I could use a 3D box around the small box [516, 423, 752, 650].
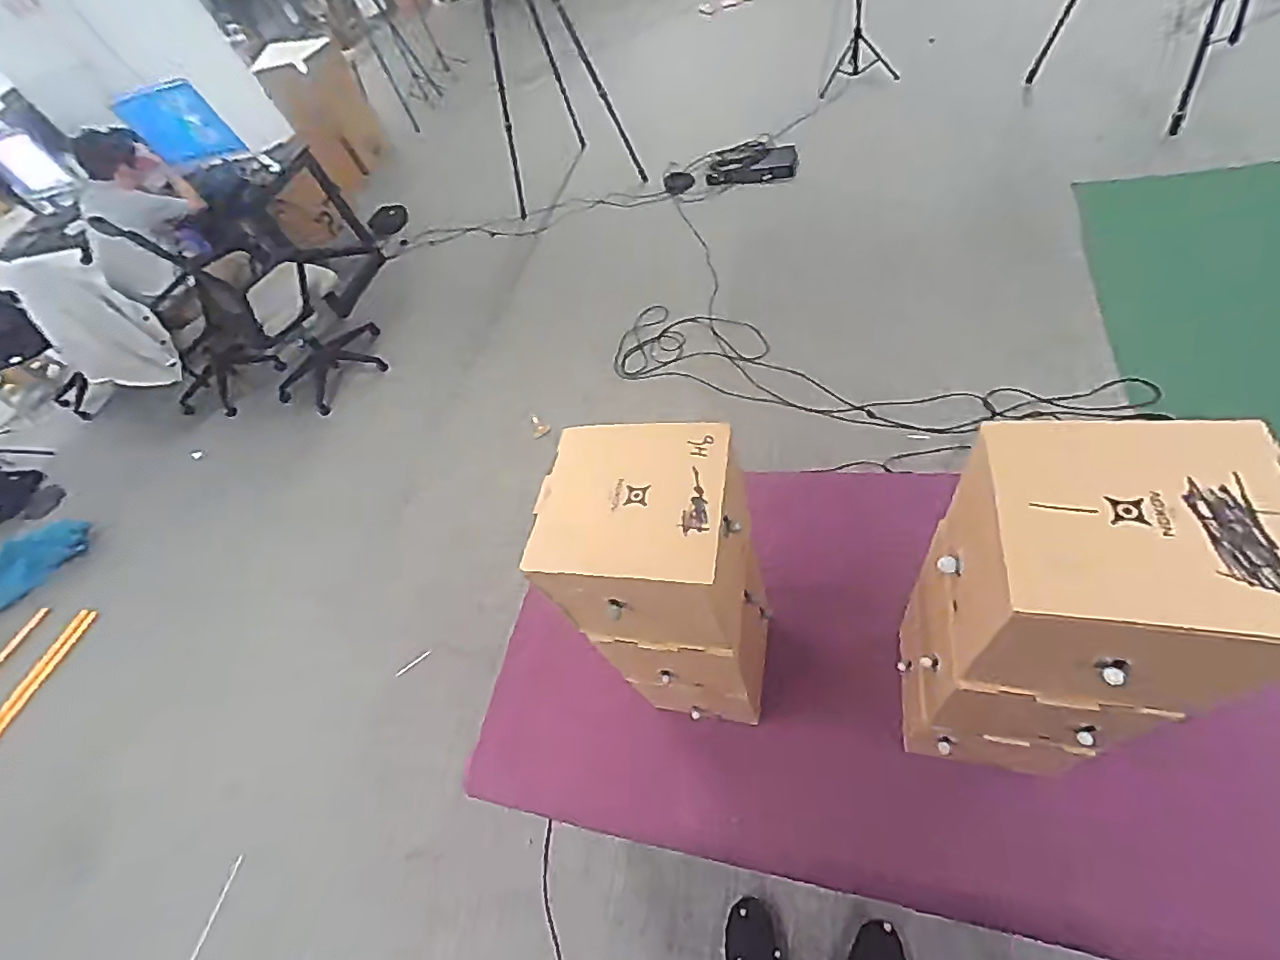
[{"bbox_3d":[0.010,0.060,0.544,0.179,0.176,0.168,1,56,19],"label":"small box"}]

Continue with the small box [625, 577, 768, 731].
[{"bbox_3d":[0.095,0.248,0.797,0.168,0.176,0.179,2,56,20],"label":"small box"}]

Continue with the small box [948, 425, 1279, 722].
[{"bbox_3d":[0.359,0.075,0.421,0.179,0.176,0.168,3,56,20],"label":"small box"}]

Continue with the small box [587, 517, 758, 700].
[{"bbox_3d":[0.054,0.154,0.671,0.168,0.176,0.179,2,57,18],"label":"small box"}]

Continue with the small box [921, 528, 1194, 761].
[{"bbox_3d":[0.393,0.169,0.551,0.168,0.176,0.179,2,55,19],"label":"small box"}]
